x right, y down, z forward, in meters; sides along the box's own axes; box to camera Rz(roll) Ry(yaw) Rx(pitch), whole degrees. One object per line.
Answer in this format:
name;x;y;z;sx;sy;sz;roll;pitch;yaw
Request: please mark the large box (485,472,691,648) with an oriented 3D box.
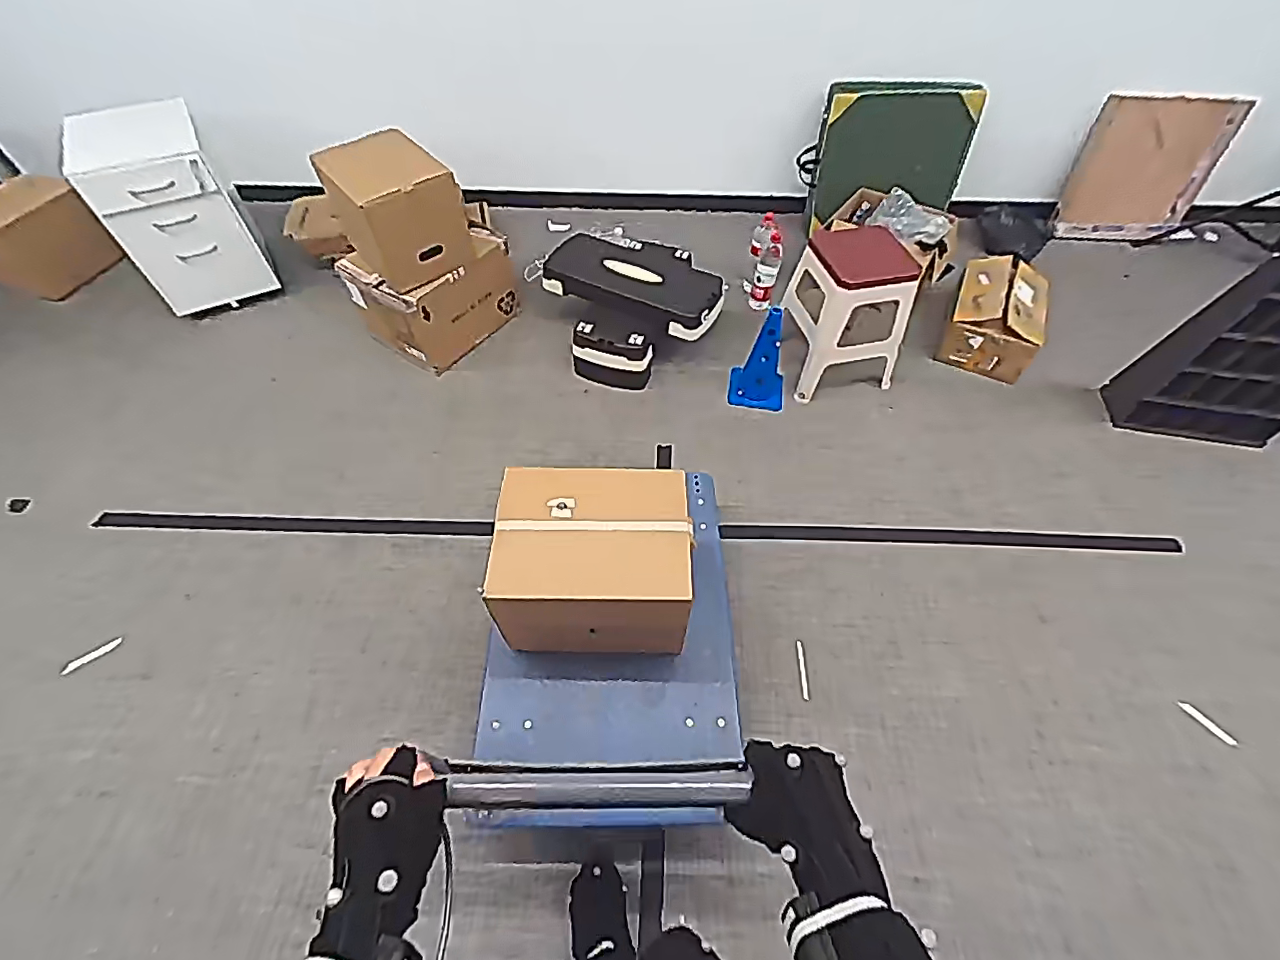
large box;-0.099;0.192;1.247;0.408;0.320;0.320;1;54;0
